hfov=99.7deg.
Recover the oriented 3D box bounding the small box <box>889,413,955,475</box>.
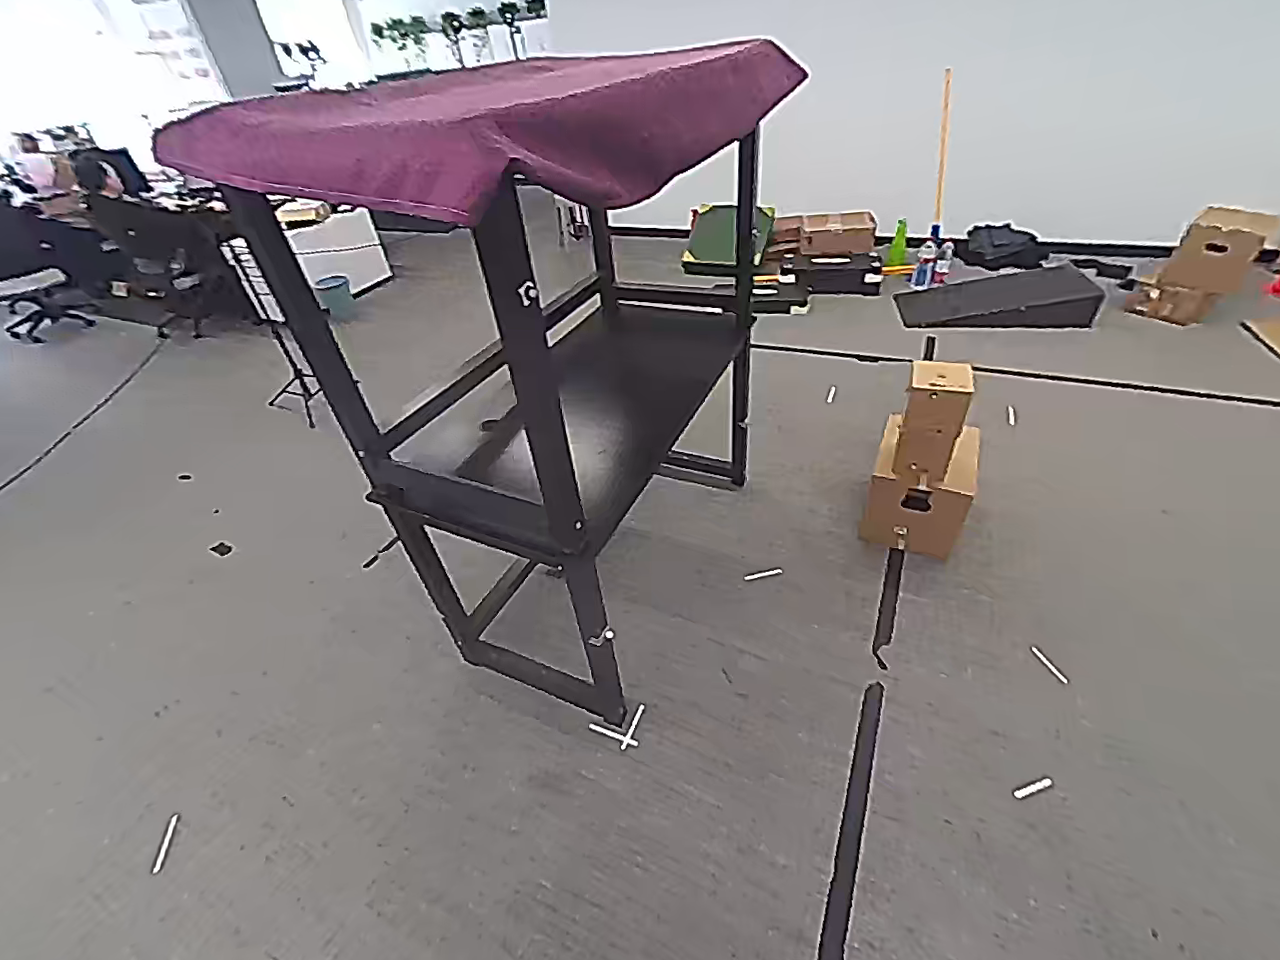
[{"bbox_3d":[0.940,-0.142,1.801,0.168,0.176,0.179,12,44,23],"label":"small box"}]

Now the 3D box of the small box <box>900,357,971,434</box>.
[{"bbox_3d":[0.923,-0.267,1.696,0.168,0.176,0.179,9,41,21],"label":"small box"}]

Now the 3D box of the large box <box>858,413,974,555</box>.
[{"bbox_3d":[1.013,0.008,1.993,0.320,0.320,0.408,15,44,22],"label":"large box"}]
